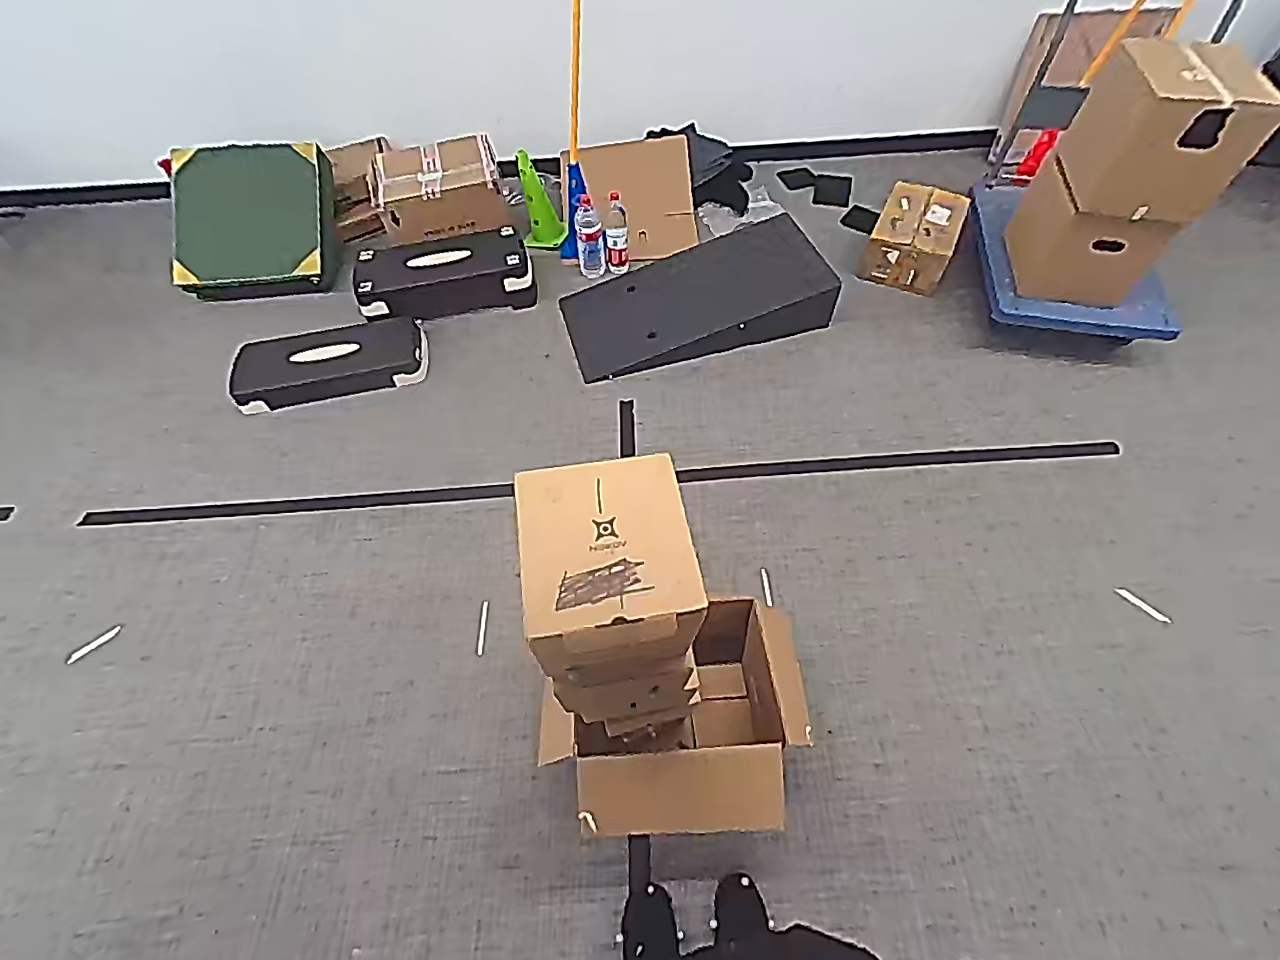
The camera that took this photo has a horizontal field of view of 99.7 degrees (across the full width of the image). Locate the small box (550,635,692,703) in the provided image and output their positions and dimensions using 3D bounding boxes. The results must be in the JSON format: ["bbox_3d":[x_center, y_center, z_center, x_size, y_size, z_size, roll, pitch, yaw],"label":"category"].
[{"bbox_3d":[-0.032,0.191,0.723,0.168,0.176,0.179,-7,60,-6],"label":"small box"}]

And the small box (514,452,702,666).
[{"bbox_3d":[-0.038,0.094,0.589,0.168,0.176,0.179,-8,60,-7],"label":"small box"}]

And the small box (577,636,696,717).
[{"bbox_3d":[-0.018,0.271,0.865,0.179,0.176,0.168,-8,61,-6],"label":"small box"}]

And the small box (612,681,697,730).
[{"bbox_3d":[0.004,0.416,1.161,0.179,0.176,0.168,-20,62,-14],"label":"small box"}]
